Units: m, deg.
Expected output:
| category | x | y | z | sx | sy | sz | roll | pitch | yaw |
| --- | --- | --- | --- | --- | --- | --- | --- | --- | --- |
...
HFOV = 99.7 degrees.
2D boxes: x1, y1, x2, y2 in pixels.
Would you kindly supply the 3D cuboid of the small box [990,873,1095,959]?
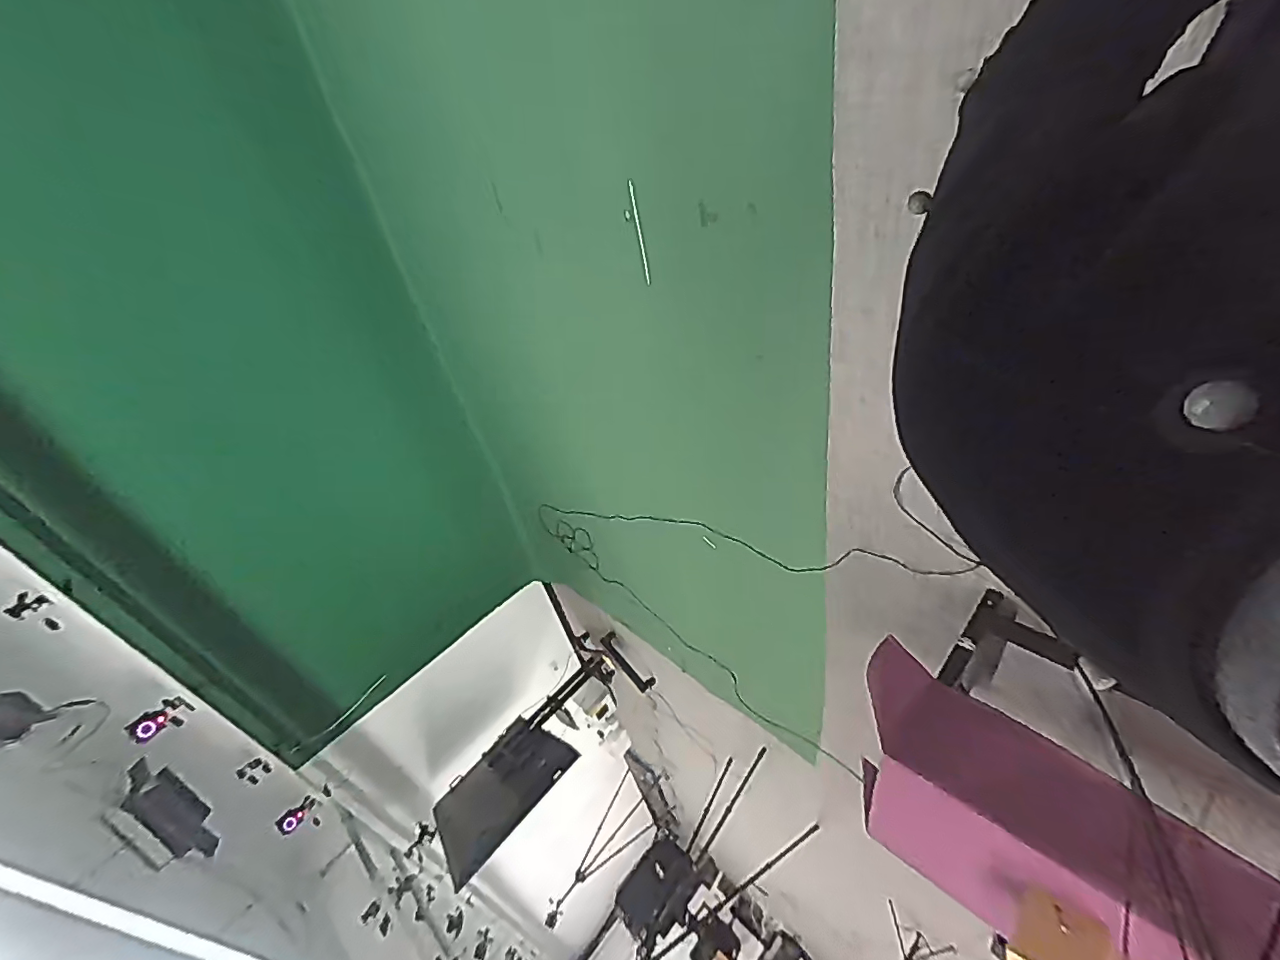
| category | x | y | z | sx | sy | sz | roll | pitch | yaw |
| --- | --- | --- | --- | --- | --- | --- | --- | --- | --- |
| small box | 0.972 | 1.113 | 1.307 | 0.168 | 0.176 | 0.179 | 13 | 134 | 48 |
